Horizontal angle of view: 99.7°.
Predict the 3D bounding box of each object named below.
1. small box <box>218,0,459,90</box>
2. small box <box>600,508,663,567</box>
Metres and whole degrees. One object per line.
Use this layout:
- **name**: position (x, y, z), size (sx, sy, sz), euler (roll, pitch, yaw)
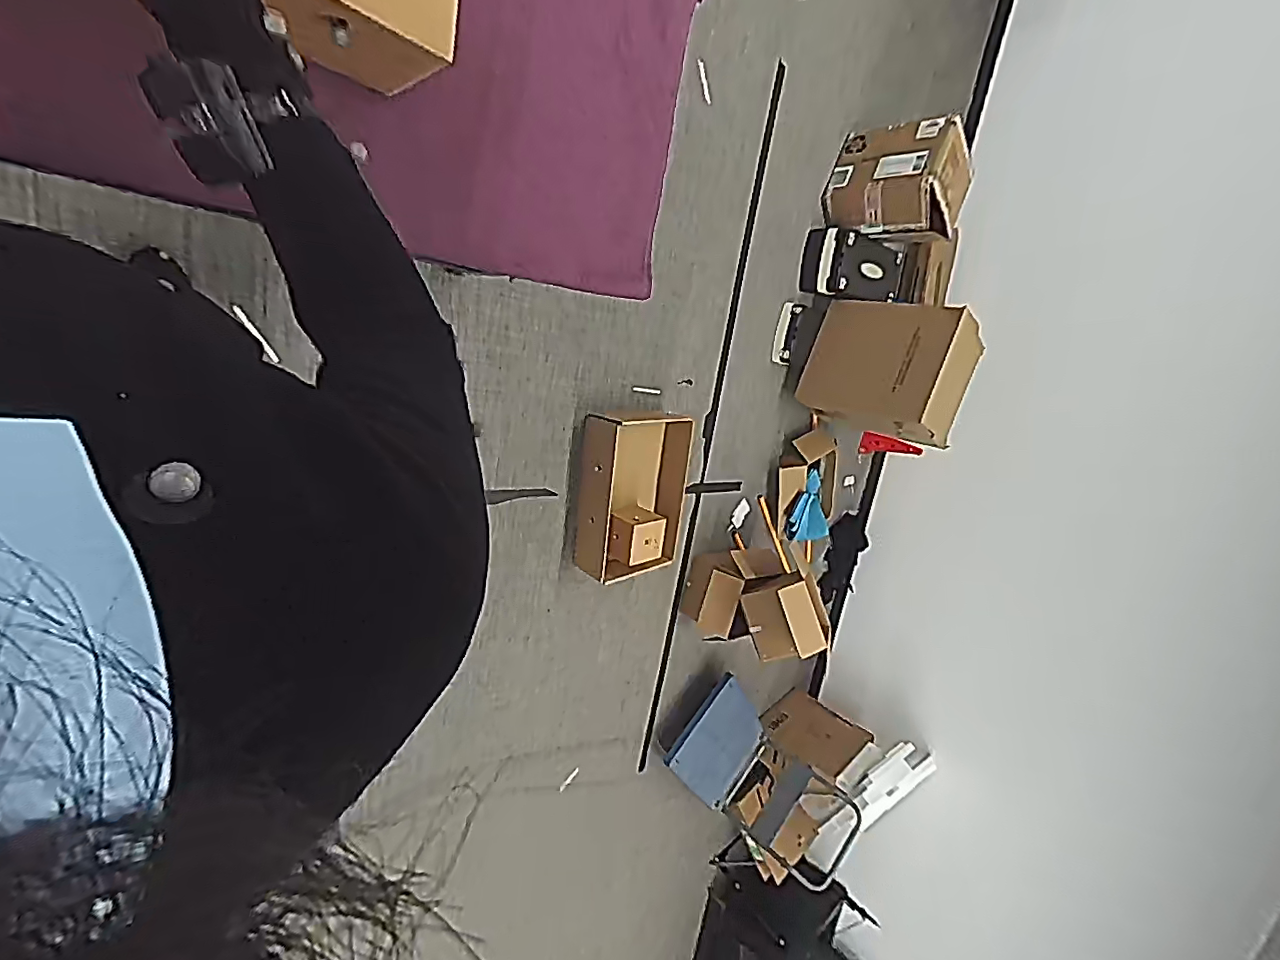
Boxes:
- **small box**: position (-0.296, -0.522, 0.536), size (0.179, 0.176, 0.168), euler (-2, 107, -45)
- **small box**: position (-0.036, 0.219, 2.102), size (0.179, 0.176, 0.168), euler (-8, 112, -45)
